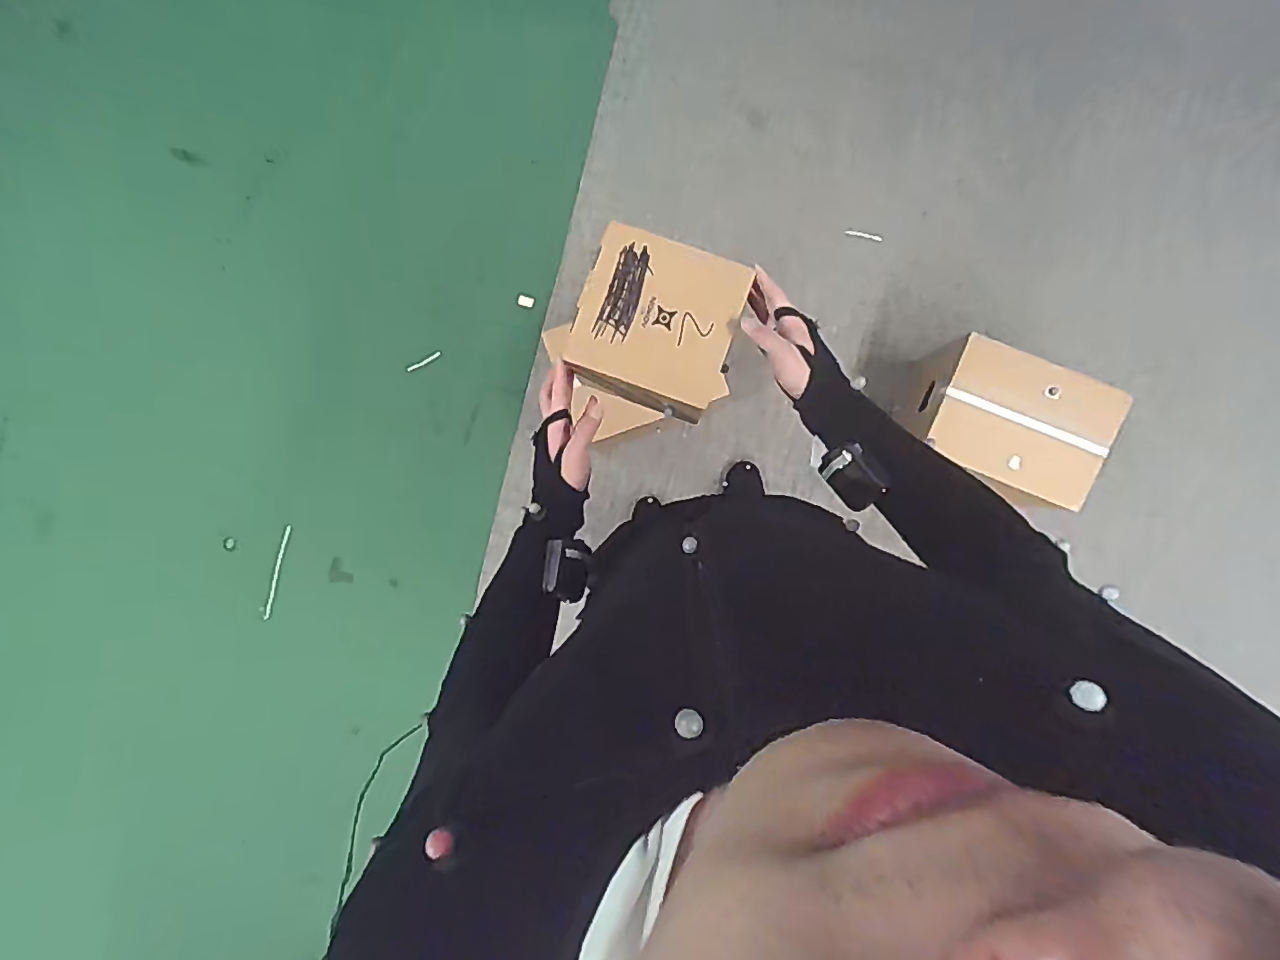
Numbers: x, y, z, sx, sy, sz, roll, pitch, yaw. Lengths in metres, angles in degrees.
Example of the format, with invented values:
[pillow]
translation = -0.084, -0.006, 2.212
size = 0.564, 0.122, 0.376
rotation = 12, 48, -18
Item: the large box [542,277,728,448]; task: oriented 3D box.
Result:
[large box]
translation = -0.002, -0.301, 1.505
size = 0.408, 0.320, 0.320
rotation = -19, 88, 5
